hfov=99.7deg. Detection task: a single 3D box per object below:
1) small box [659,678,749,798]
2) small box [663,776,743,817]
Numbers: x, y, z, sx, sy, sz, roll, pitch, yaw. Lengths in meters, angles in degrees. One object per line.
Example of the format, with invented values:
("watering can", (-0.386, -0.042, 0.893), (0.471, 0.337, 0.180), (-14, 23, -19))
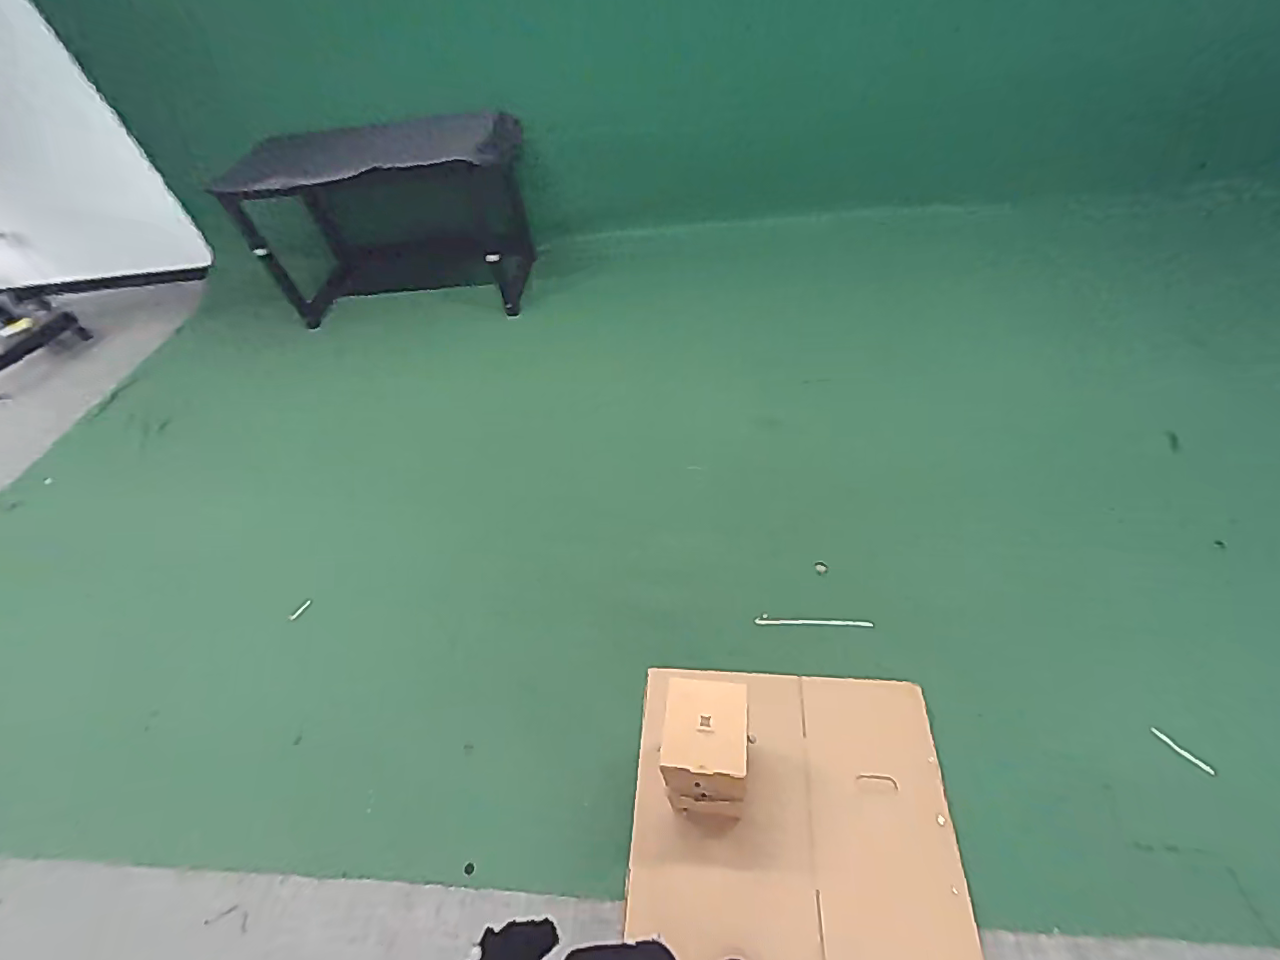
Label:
("small box", (0.137, 0.533, 1.118), (0.168, 0.176, 0.179), (2, 50, 11))
("small box", (0.151, 0.649, 1.232), (0.168, 0.176, 0.179), (0, 48, 11))
